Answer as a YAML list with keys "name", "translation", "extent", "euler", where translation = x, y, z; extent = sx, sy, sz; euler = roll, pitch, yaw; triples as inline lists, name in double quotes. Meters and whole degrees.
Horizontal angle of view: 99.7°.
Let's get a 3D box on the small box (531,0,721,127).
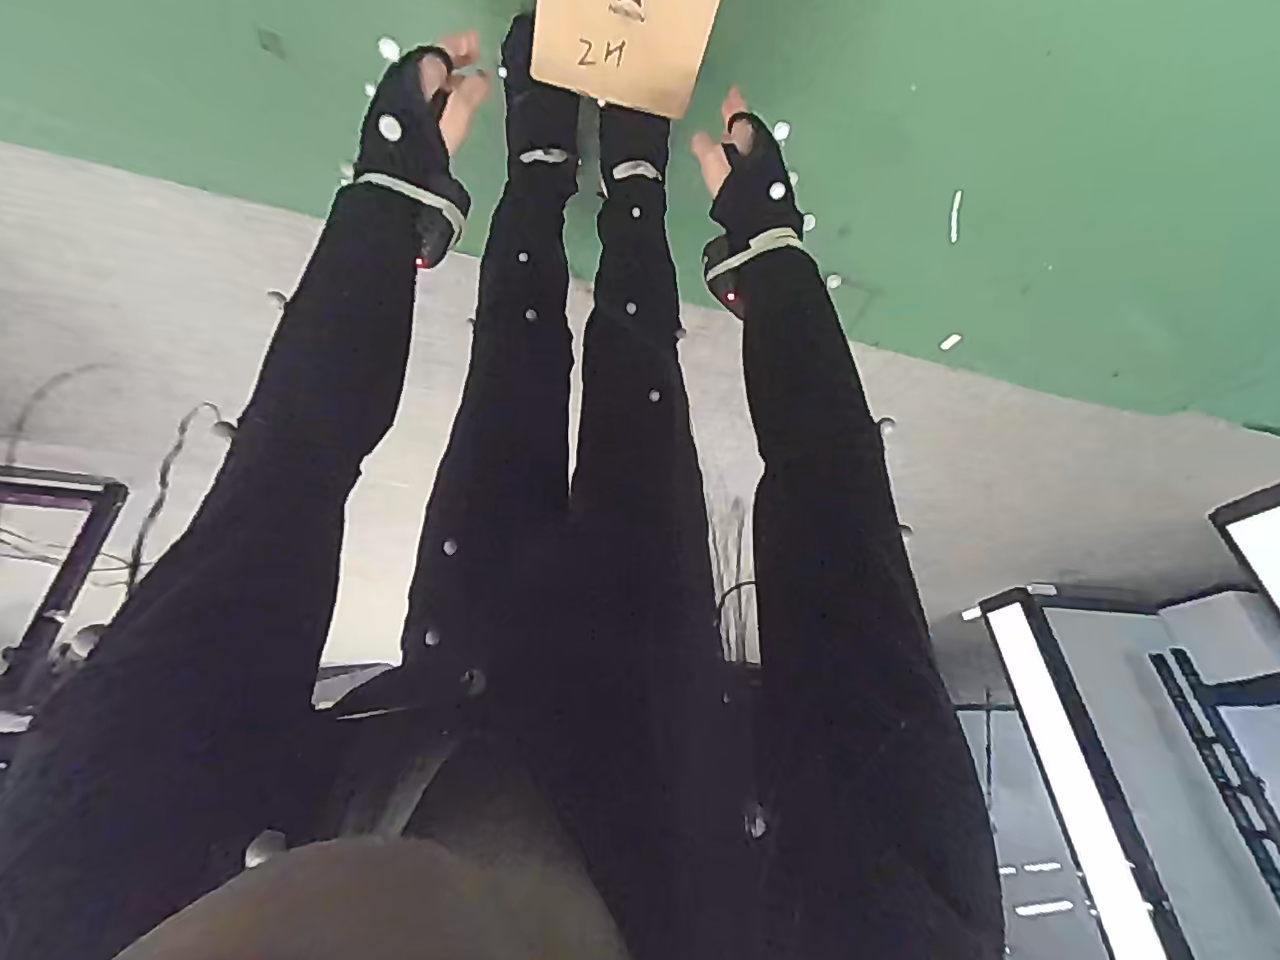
- name: "small box"
  translation: [-0.014, -0.507, 0.544]
  extent: [0.168, 0.176, 0.179]
  euler: [7, 147, -14]
